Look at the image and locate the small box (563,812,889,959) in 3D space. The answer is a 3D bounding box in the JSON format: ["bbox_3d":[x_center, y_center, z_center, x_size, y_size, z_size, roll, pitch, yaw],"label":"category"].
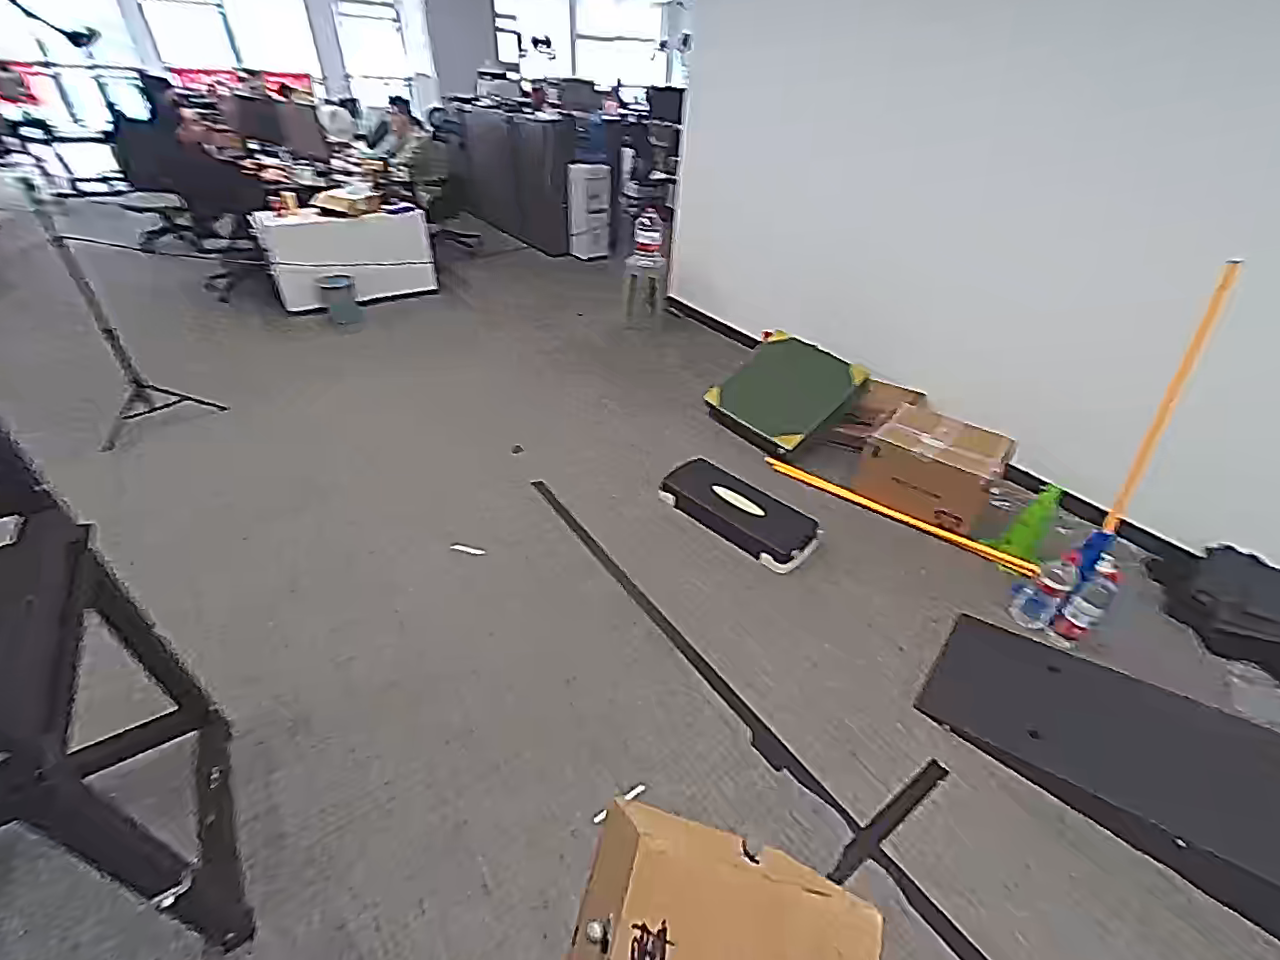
[{"bbox_3d":[0.046,0.362,0.390,0.179,0.176,0.168,20,64,-3],"label":"small box"}]
